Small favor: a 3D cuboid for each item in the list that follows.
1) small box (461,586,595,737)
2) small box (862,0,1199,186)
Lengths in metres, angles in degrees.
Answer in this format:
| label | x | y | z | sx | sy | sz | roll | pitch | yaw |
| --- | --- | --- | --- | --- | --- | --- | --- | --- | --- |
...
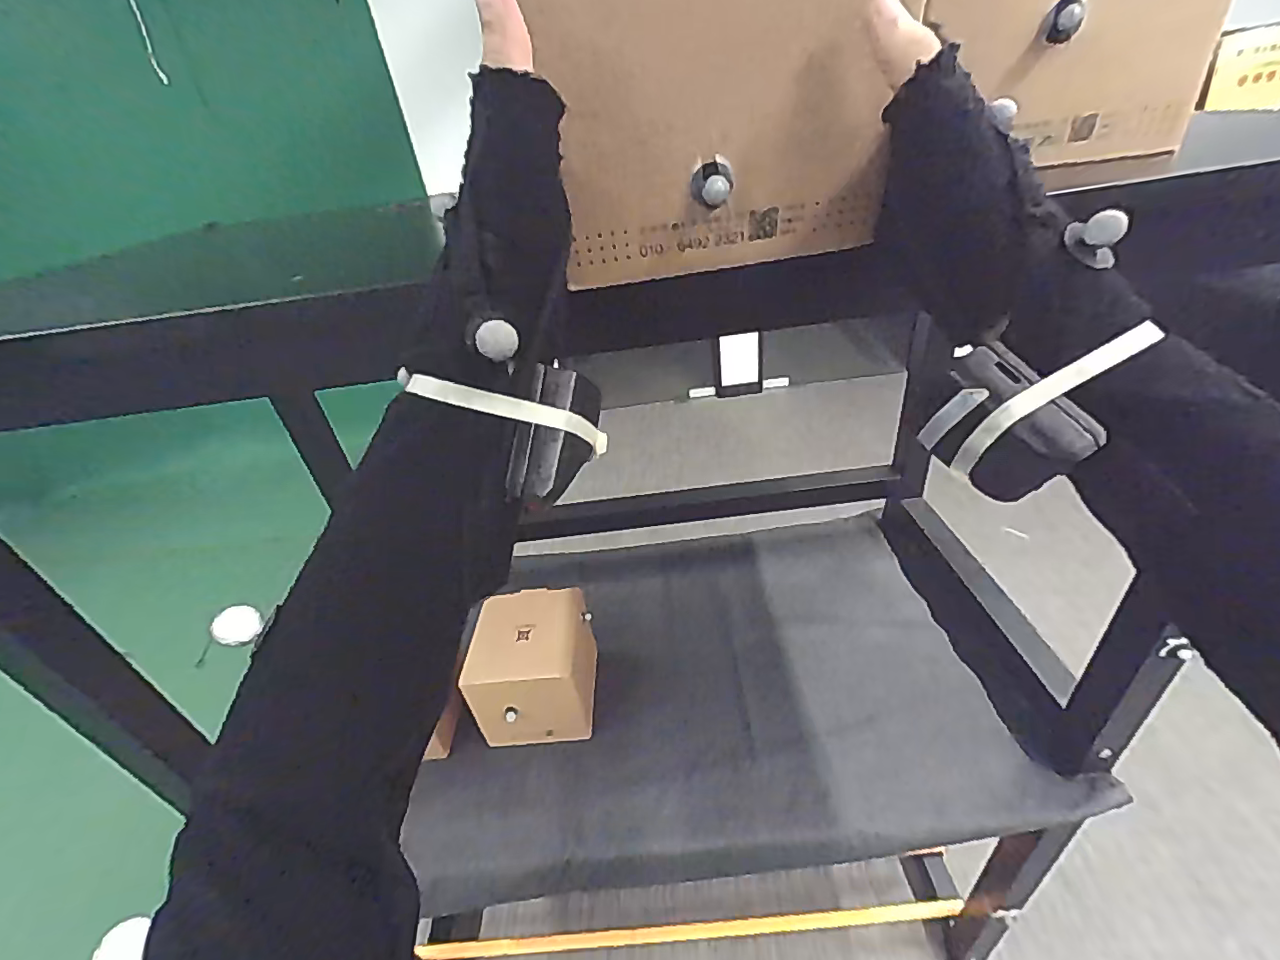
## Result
| label | x | y | z | sx | sy | sz | roll | pitch | yaw |
| --- | --- | --- | --- | --- | --- | --- | --- | --- | --- |
| small box | -0.170 | 0.301 | 0.888 | 0.168 | 0.176 | 0.179 | -6 | 33 | 3 |
| small box | 0.270 | -0.326 | 0.402 | 0.168 | 0.176 | 0.179 | 0 | 34 | 12 |
